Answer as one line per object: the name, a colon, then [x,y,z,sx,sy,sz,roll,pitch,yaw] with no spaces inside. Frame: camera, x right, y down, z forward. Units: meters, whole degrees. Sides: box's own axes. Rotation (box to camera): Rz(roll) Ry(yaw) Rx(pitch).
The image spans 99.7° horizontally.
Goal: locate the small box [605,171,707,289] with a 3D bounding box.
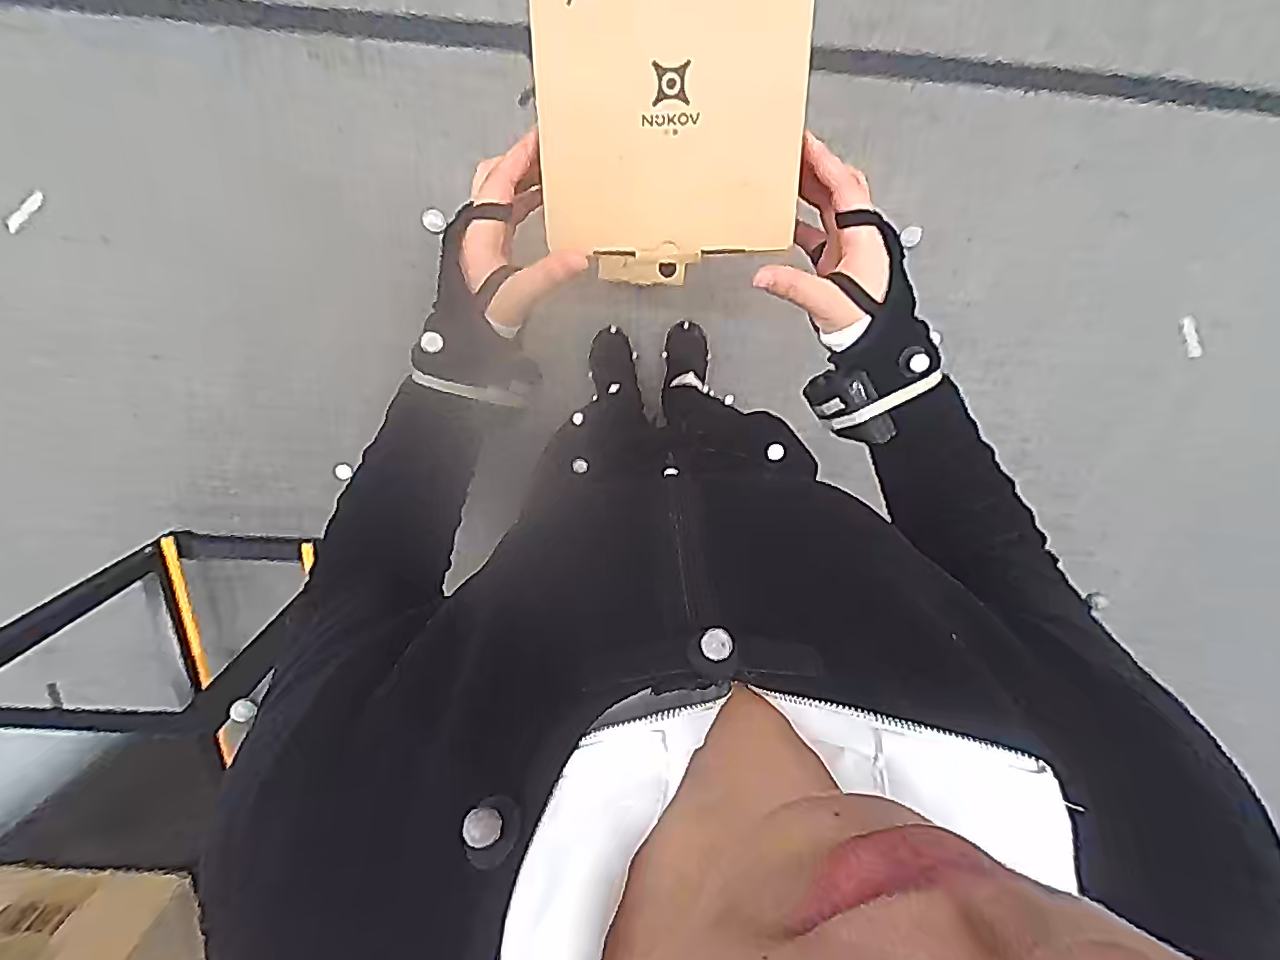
small box: [0.023,-0.453,0.999,0.168,0.176,0.179,3,111,-2]
